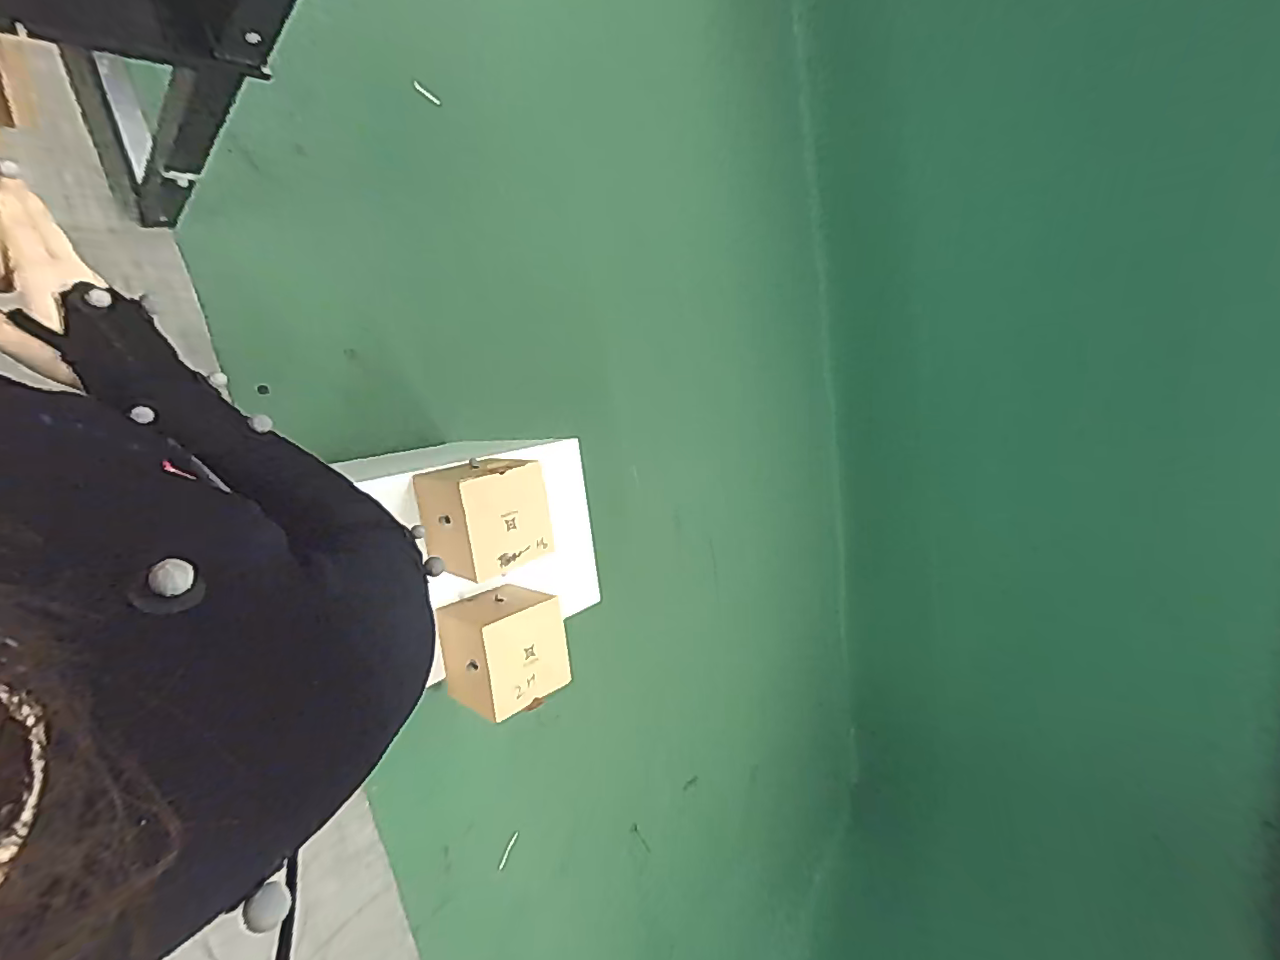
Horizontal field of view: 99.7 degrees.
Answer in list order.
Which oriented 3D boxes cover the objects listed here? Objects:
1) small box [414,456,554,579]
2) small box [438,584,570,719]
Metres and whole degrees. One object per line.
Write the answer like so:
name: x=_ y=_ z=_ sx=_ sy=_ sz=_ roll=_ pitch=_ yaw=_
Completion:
small box: x=-0.280 y=0.057 z=0.965 sx=0.168 sy=0.176 sz=0.179 roll=-19 pitch=107 yaw=-45
small box: x=-0.255 y=0.303 z=1.004 sx=0.168 sy=0.176 sz=0.179 roll=-15 pitch=103 yaw=-45
